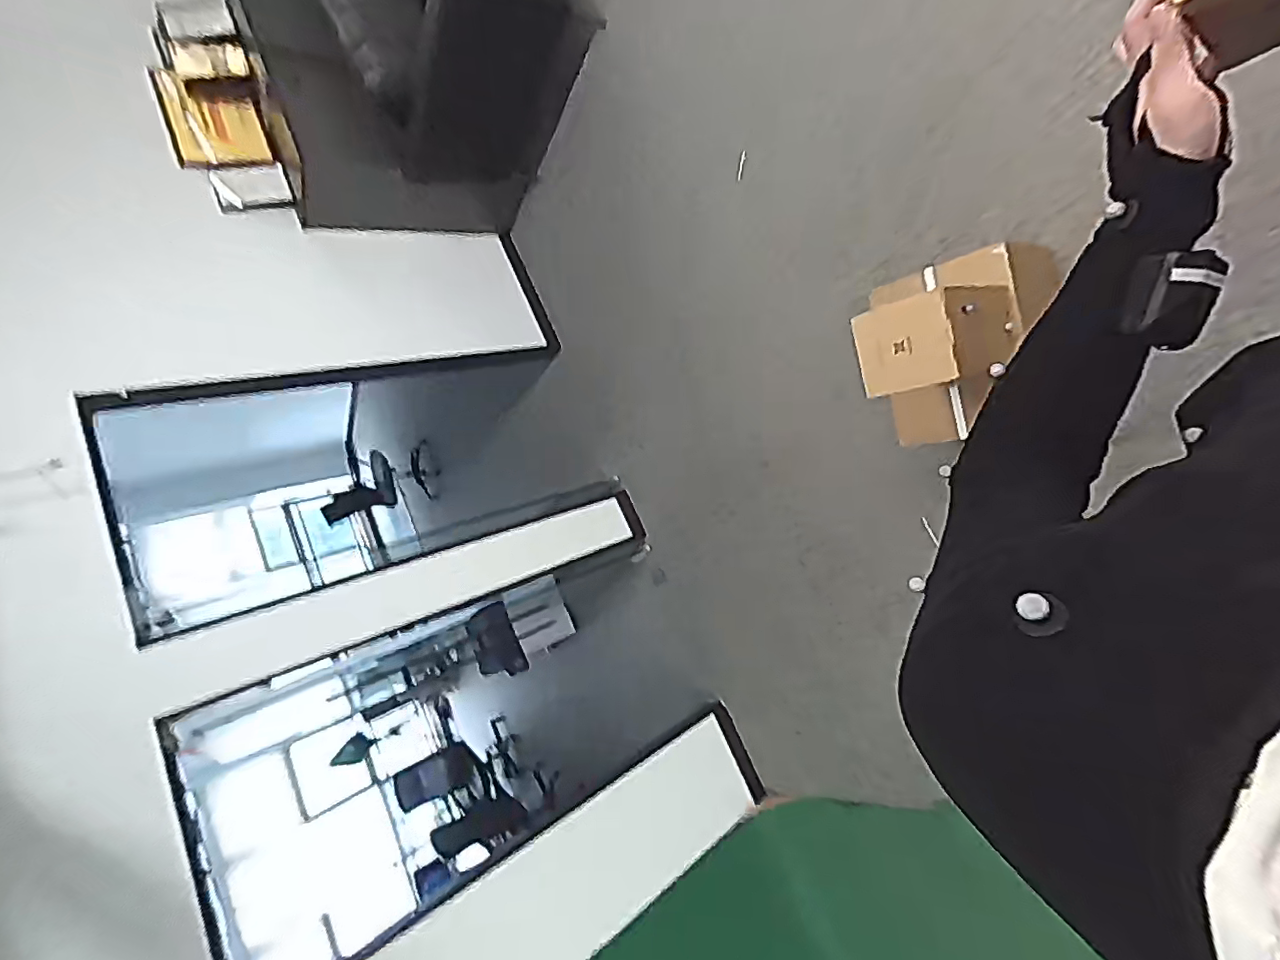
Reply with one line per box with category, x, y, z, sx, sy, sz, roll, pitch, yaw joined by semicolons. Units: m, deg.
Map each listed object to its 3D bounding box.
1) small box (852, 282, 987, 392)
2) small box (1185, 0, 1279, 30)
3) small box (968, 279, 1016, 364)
small box;0.553;-0.280;1.061;0.179;0.176;0.168;-9;97;53
small box;0.430;-0.407;0.307;0.168;0.176;0.179;-5;96;56
small box;0.673;-0.322;1.163;0.179;0.176;0.168;-6;100;52
